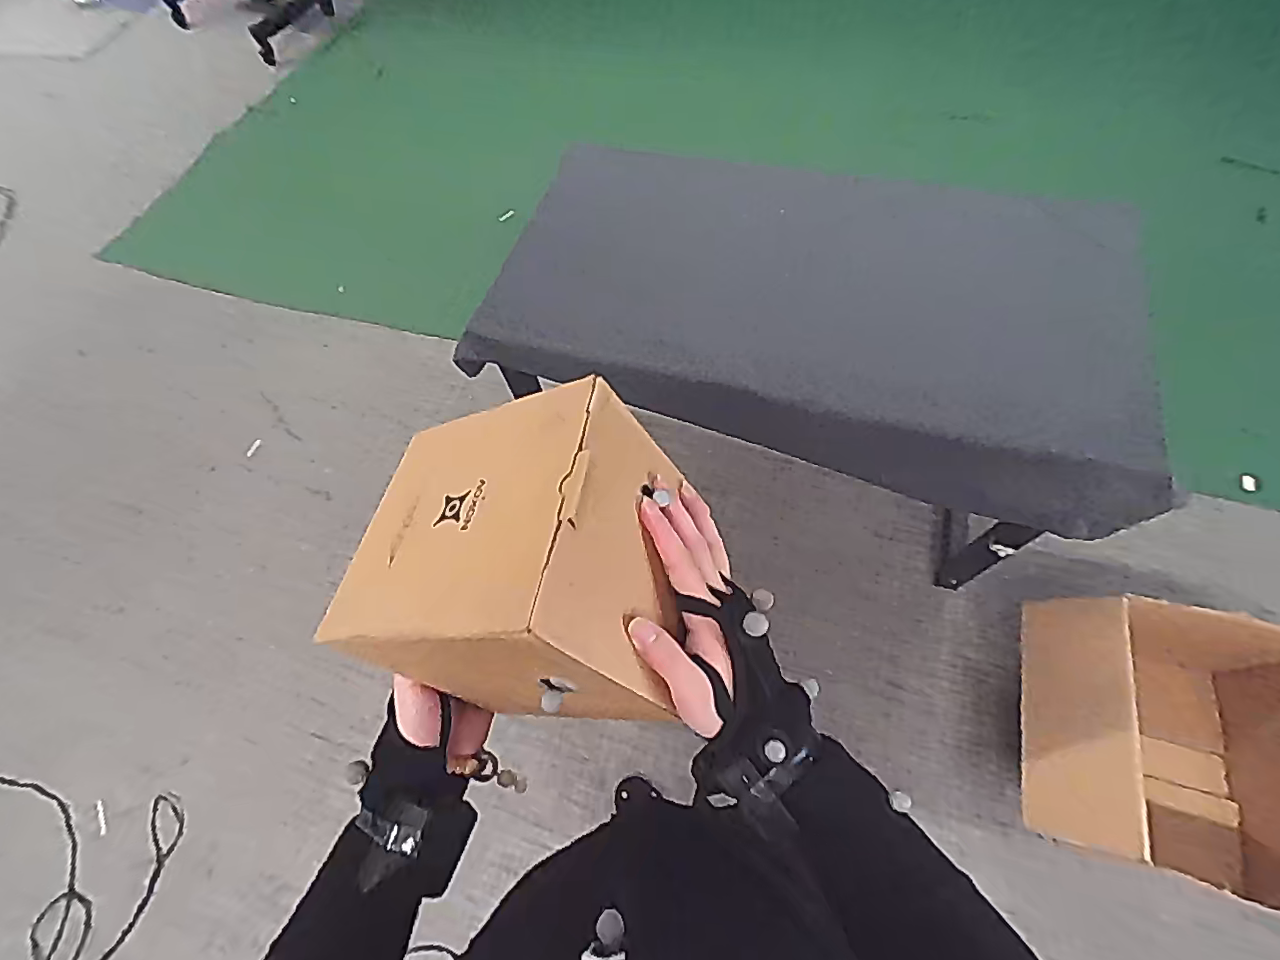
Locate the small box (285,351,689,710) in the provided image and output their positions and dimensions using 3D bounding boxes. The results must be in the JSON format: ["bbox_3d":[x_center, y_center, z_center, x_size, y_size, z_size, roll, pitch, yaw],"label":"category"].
[{"bbox_3d":[-0.081,0.049,0.370,0.179,0.176,0.168,-13,48,29],"label":"small box"}]
